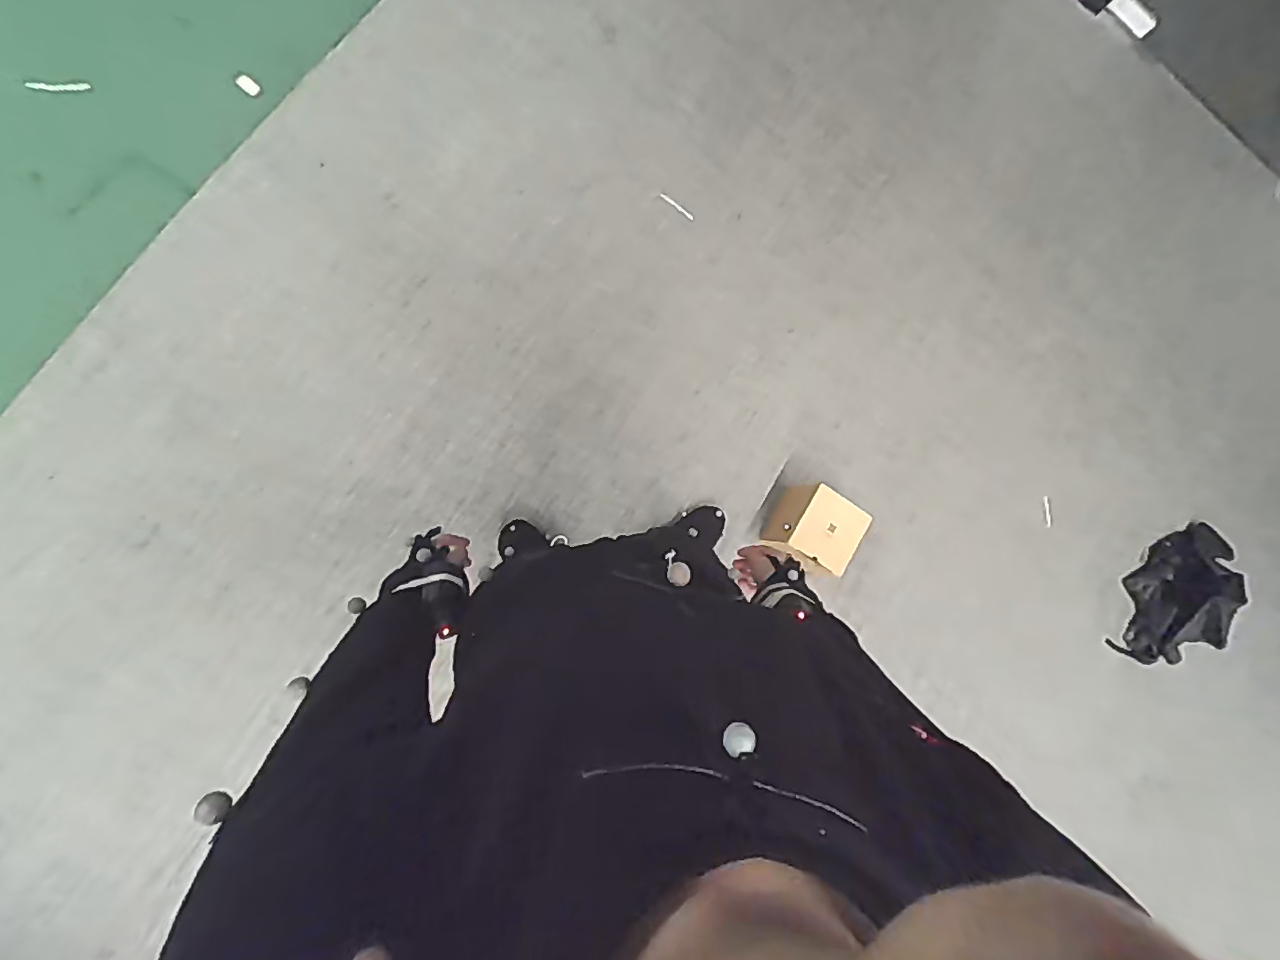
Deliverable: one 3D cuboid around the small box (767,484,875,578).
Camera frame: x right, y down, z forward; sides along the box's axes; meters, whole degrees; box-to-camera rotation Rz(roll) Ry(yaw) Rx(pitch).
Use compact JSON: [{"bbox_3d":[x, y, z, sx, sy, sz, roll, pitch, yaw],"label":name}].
[{"bbox_3d":[0.455,0.127,1.385,0.168,0.176,0.179,32,82,-8],"label":"small box"}]
